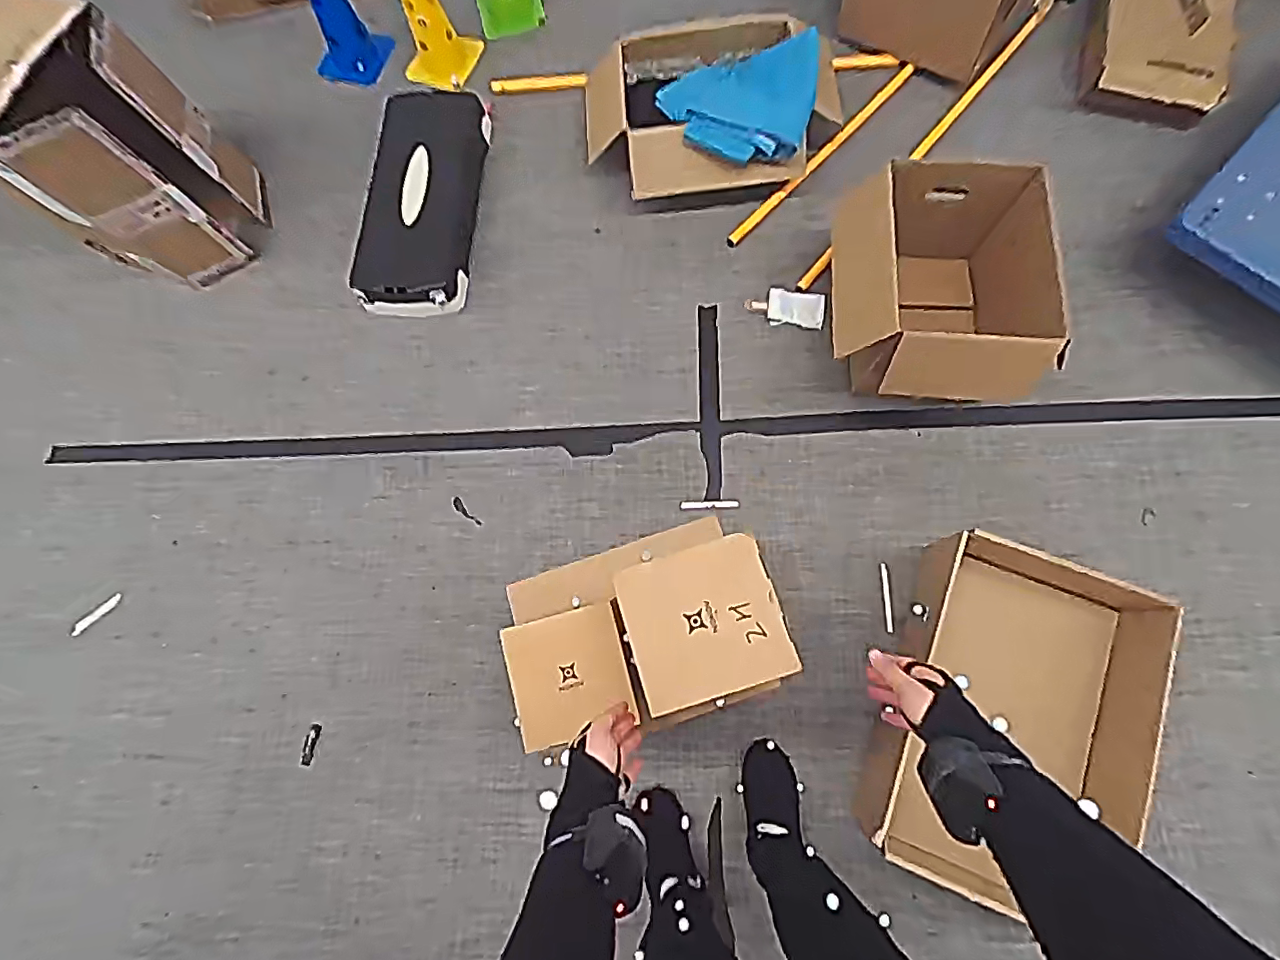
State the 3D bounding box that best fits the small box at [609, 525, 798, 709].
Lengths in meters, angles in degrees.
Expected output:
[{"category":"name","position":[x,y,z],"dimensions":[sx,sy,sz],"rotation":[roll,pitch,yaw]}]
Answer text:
[{"category":"small box","position":[0.075,0.170,0.680],"dimensions":[0.179,0.176,0.168],"rotation":[-17,76,0]}]
